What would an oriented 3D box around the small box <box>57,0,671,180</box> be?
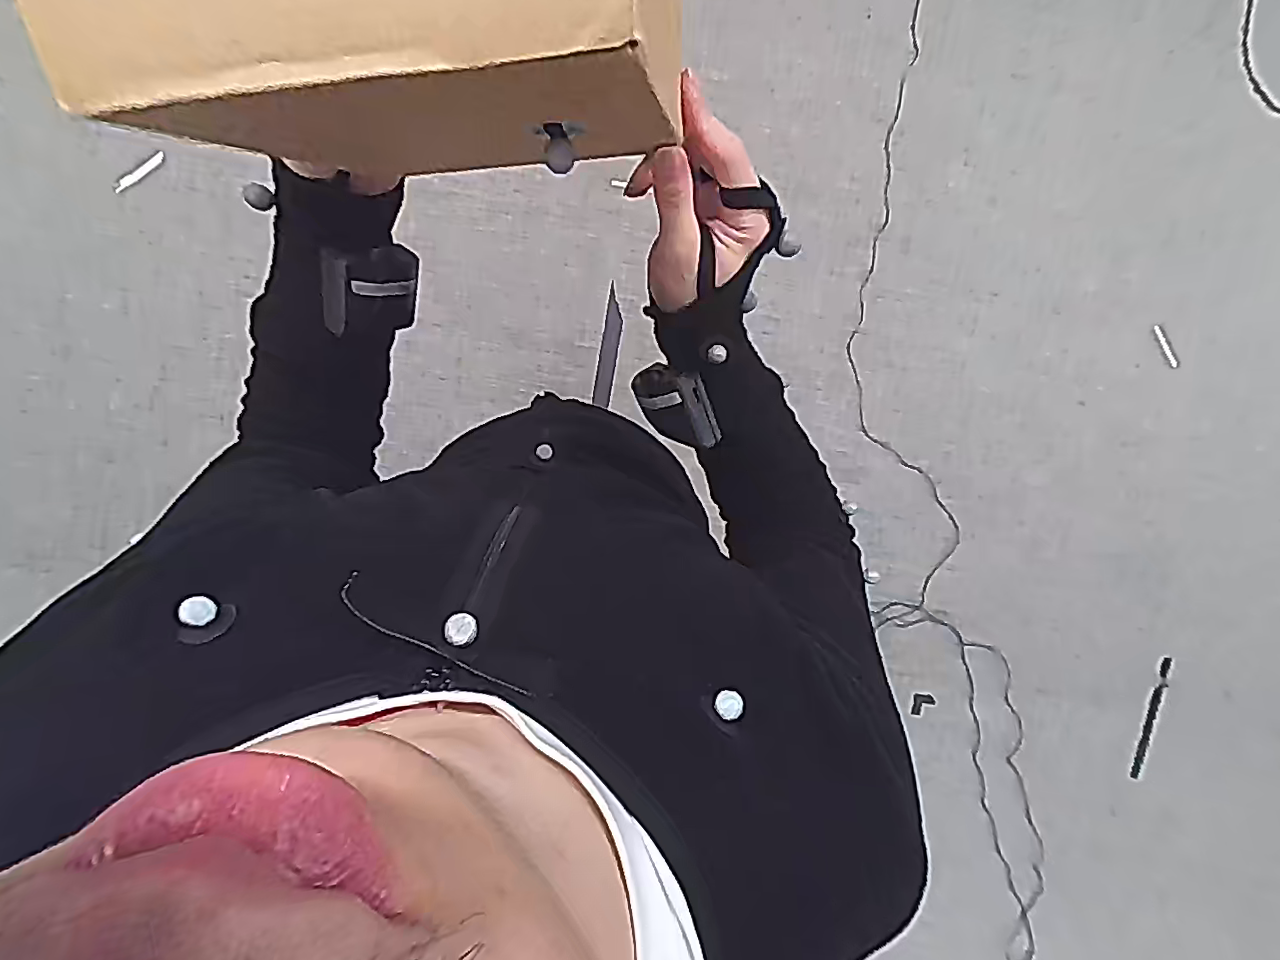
[{"bbox_3d":[-0.081,-0.219,0.202,0.179,0.176,0.168,-1,113,10],"label":"small box"}]
